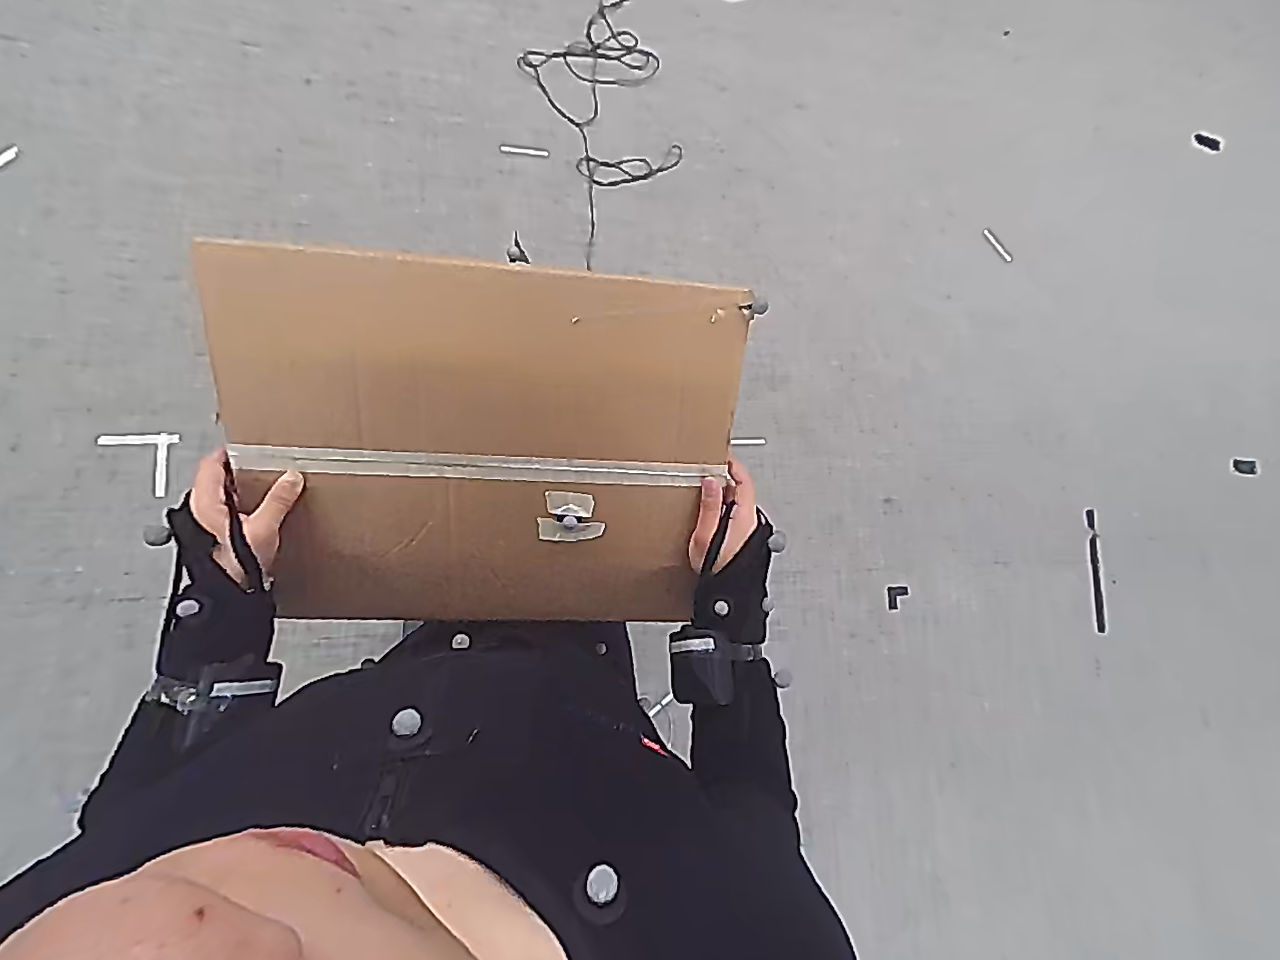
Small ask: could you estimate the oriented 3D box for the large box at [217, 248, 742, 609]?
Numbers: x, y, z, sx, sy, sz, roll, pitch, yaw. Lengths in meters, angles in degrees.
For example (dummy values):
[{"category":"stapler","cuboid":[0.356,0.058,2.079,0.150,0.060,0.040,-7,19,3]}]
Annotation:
[{"category":"large box","cuboid":[-0.141,-0.076,0.608,0.408,0.320,0.320,1,112,-9]}]
